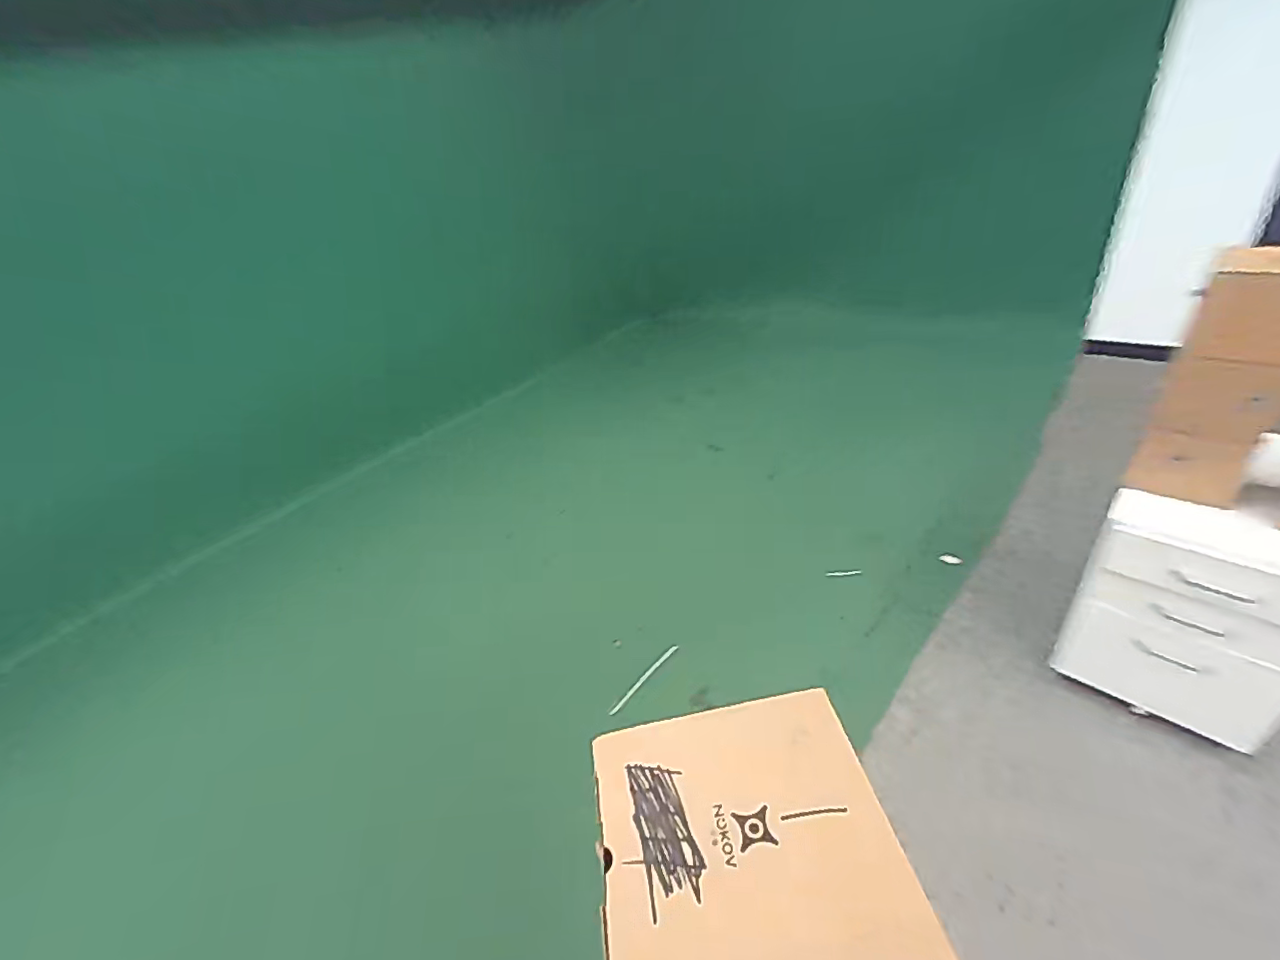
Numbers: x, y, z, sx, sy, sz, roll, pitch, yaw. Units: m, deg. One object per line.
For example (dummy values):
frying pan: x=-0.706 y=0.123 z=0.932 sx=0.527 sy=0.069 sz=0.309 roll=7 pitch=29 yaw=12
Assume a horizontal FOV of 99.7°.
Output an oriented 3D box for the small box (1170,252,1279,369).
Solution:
small box: x=1.169 y=-0.327 z=1.040 sx=0.179 sy=0.176 sz=0.168 roll=20 pitch=45 yaw=35

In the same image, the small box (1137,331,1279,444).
small box: x=1.193 y=-0.194 z=1.132 sx=0.179 sy=0.176 sz=0.168 roll=19 pitch=44 yaw=36

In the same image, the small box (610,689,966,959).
small box: x=0.083 y=0.280 z=0.374 sx=0.179 sy=0.176 sz=0.168 roll=-10 pitch=32 yaw=-1
